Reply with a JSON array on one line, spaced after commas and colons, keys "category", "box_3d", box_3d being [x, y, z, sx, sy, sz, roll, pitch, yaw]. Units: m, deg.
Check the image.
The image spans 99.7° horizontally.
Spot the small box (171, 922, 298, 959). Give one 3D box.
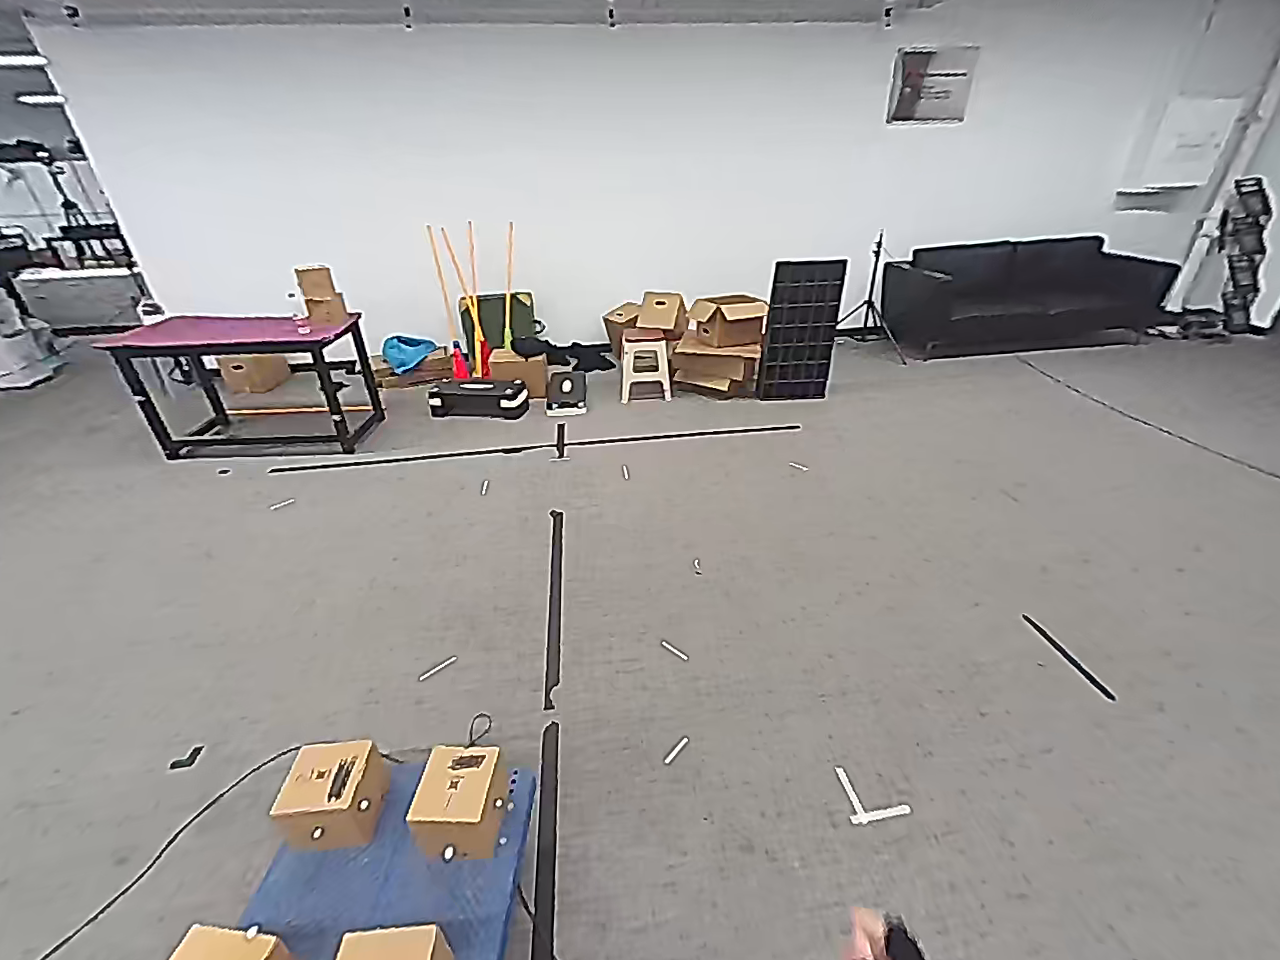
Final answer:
[{"category": "small box", "box_3d": [-0.757, 0.945, 0.978, 0.179, 0.176, 0.168, 4, 30, 6]}]

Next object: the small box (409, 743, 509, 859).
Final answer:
[{"category": "small box", "box_3d": [-0.416, 0.756, 1.279, 0.168, 0.176, 0.179, 0, 32, 3]}]

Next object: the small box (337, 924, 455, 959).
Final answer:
[{"category": "small box", "box_3d": [-0.450, 0.939, 0.972, 0.179, 0.176, 0.168, -3, 31, -2]}]
